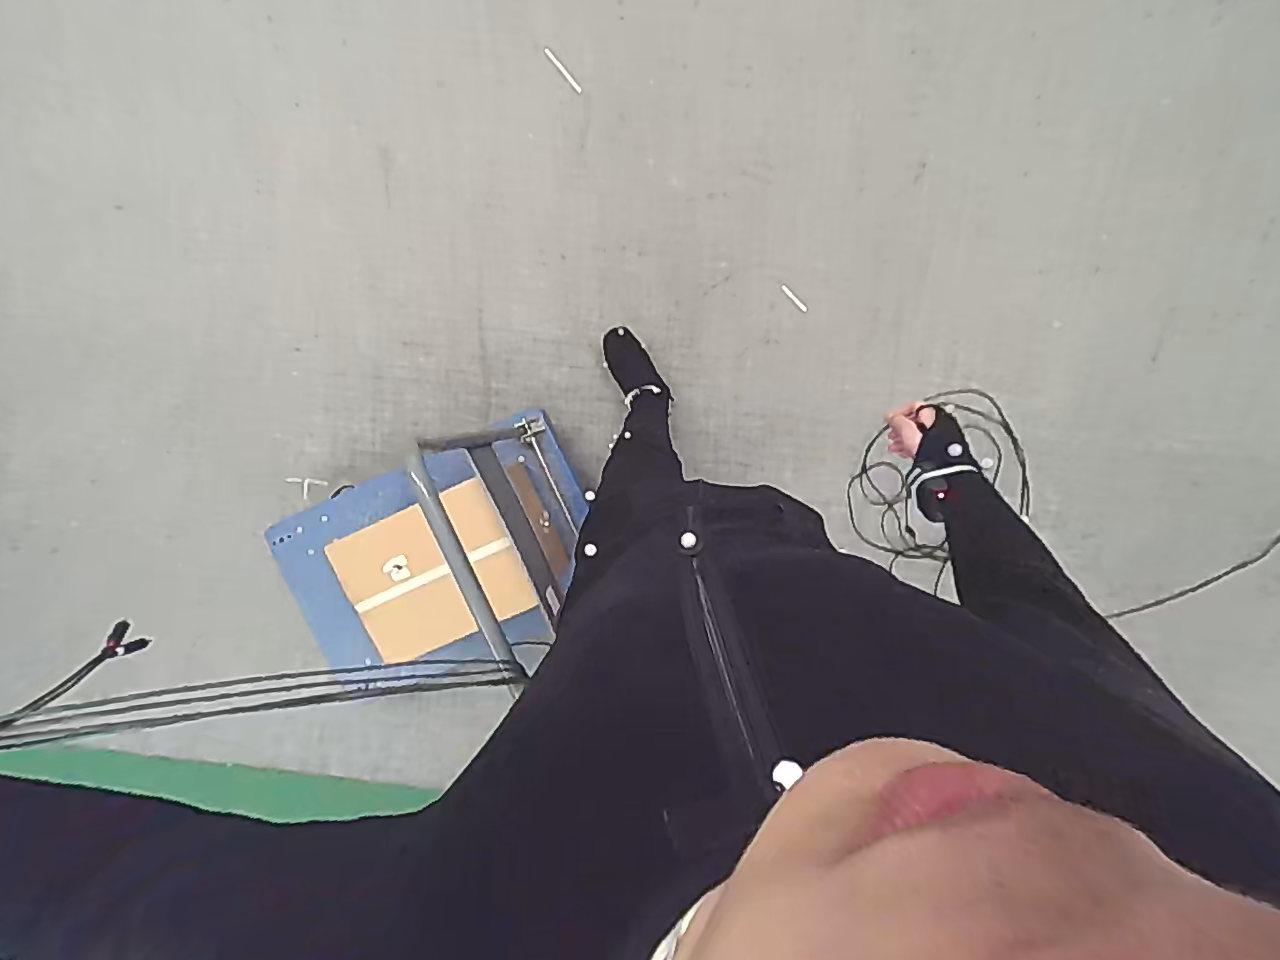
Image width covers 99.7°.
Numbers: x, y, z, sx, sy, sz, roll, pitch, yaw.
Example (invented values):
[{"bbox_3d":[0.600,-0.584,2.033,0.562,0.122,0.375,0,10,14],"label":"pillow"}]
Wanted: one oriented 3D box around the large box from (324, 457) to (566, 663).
[{"bbox_3d":[-0.445,0.174,1.325,0.408,0.320,0.320,-24,96,7],"label":"large box"}]
